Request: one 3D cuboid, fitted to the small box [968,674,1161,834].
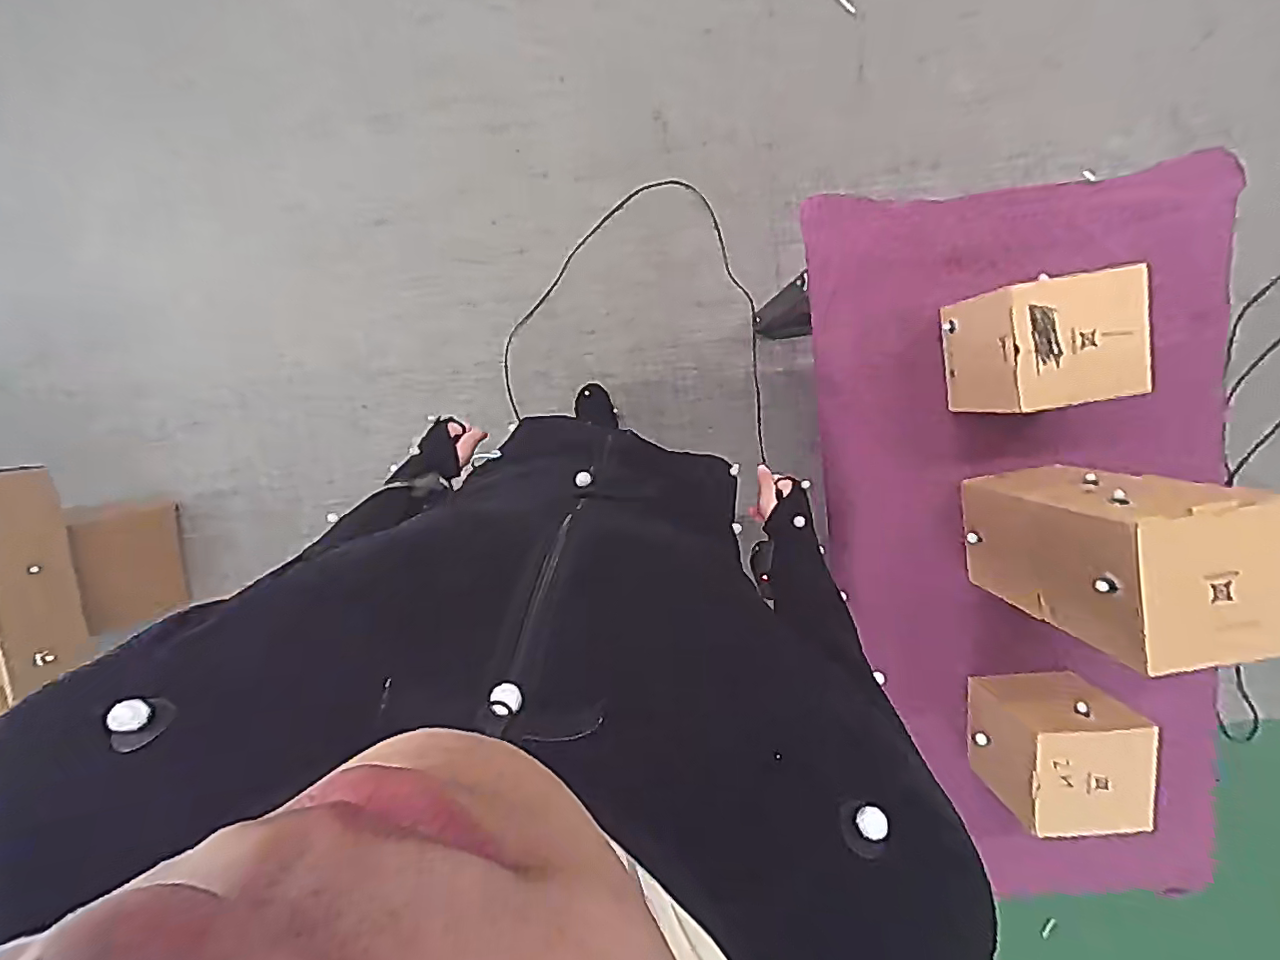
[{"bbox_3d":[0.660,0.423,0.859,0.179,0.176,0.168,-3,97,1],"label":"small box"}]

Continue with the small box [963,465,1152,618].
[{"bbox_3d":[0.619,0.084,0.814,0.168,0.176,0.179,-10,98,2],"label":"small box"}]

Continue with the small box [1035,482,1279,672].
[{"bbox_3d":[0.616,0.102,0.652,0.168,0.176,0.179,-10,97,3],"label":"small box"}]

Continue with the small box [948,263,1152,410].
[{"bbox_3d":[0.569,-0.193,0.776,0.179,0.176,0.168,-9,98,1],"label":"small box"}]
